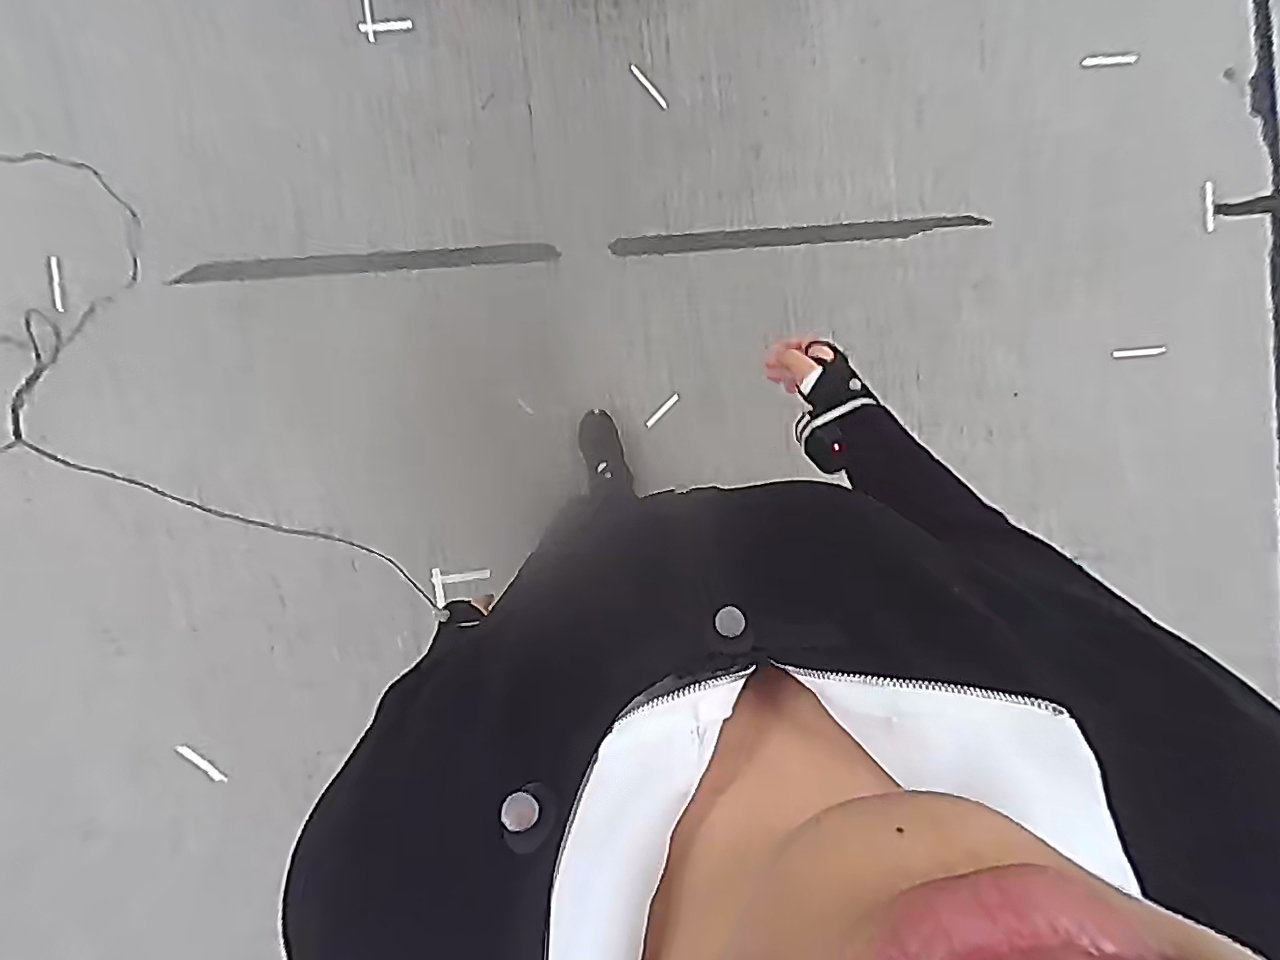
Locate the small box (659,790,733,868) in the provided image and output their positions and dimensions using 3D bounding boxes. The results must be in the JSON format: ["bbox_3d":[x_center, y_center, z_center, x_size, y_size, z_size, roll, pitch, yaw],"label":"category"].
[{"bbox_3d":[0.137,0.904,1.353,0.168,0.176,0.179,-4,92,-1],"label":"small box"}]

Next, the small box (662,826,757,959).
[{"bbox_3d":[0.147,0.911,1.190,0.168,0.176,0.179,-11,93,-2],"label":"small box"}]
